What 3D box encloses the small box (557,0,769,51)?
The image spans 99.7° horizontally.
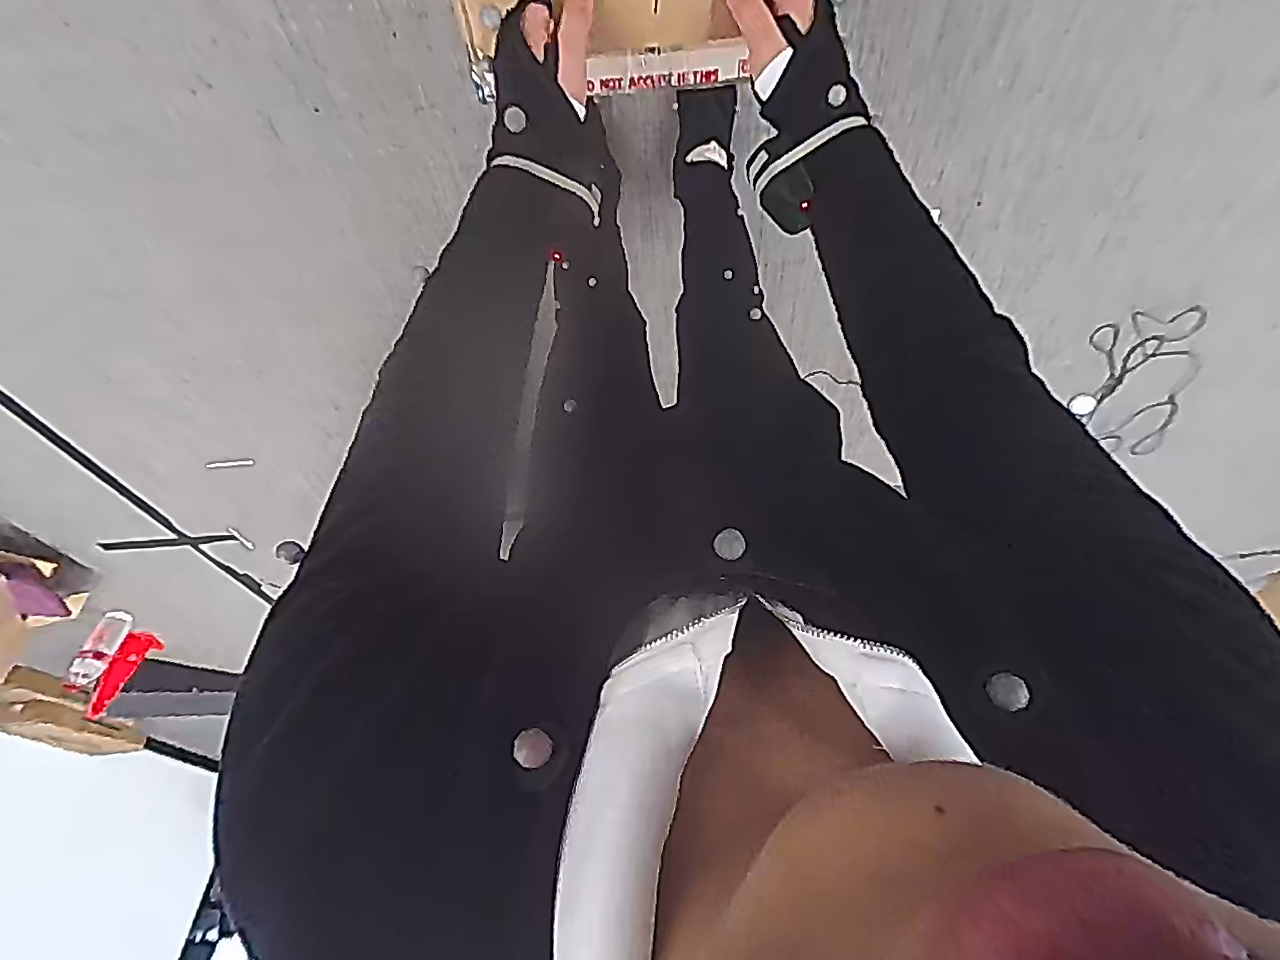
[{"bbox_3d":[0.008,-0.465,0.416,0.168,0.176,0.179,-6,141,0],"label":"small box"}]
